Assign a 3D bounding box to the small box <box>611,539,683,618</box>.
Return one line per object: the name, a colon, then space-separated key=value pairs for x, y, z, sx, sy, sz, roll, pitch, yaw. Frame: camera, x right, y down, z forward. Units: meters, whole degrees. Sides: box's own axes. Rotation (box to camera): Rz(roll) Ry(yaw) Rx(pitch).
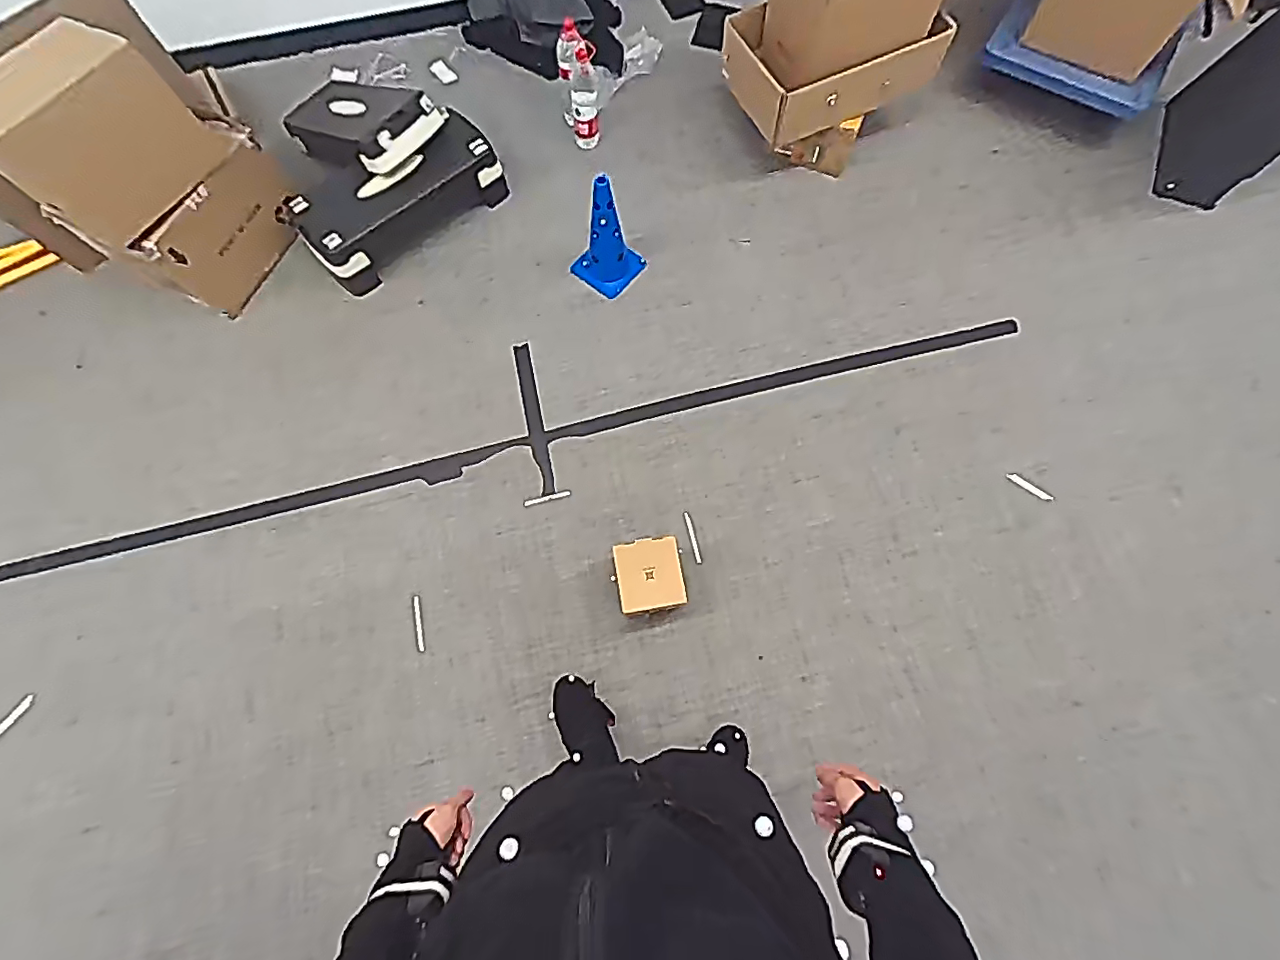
small box: x=0.019 y=0.271 z=1.449 sx=0.168 sy=0.176 sz=0.179 roll=-9 pitch=72 yaw=-3
